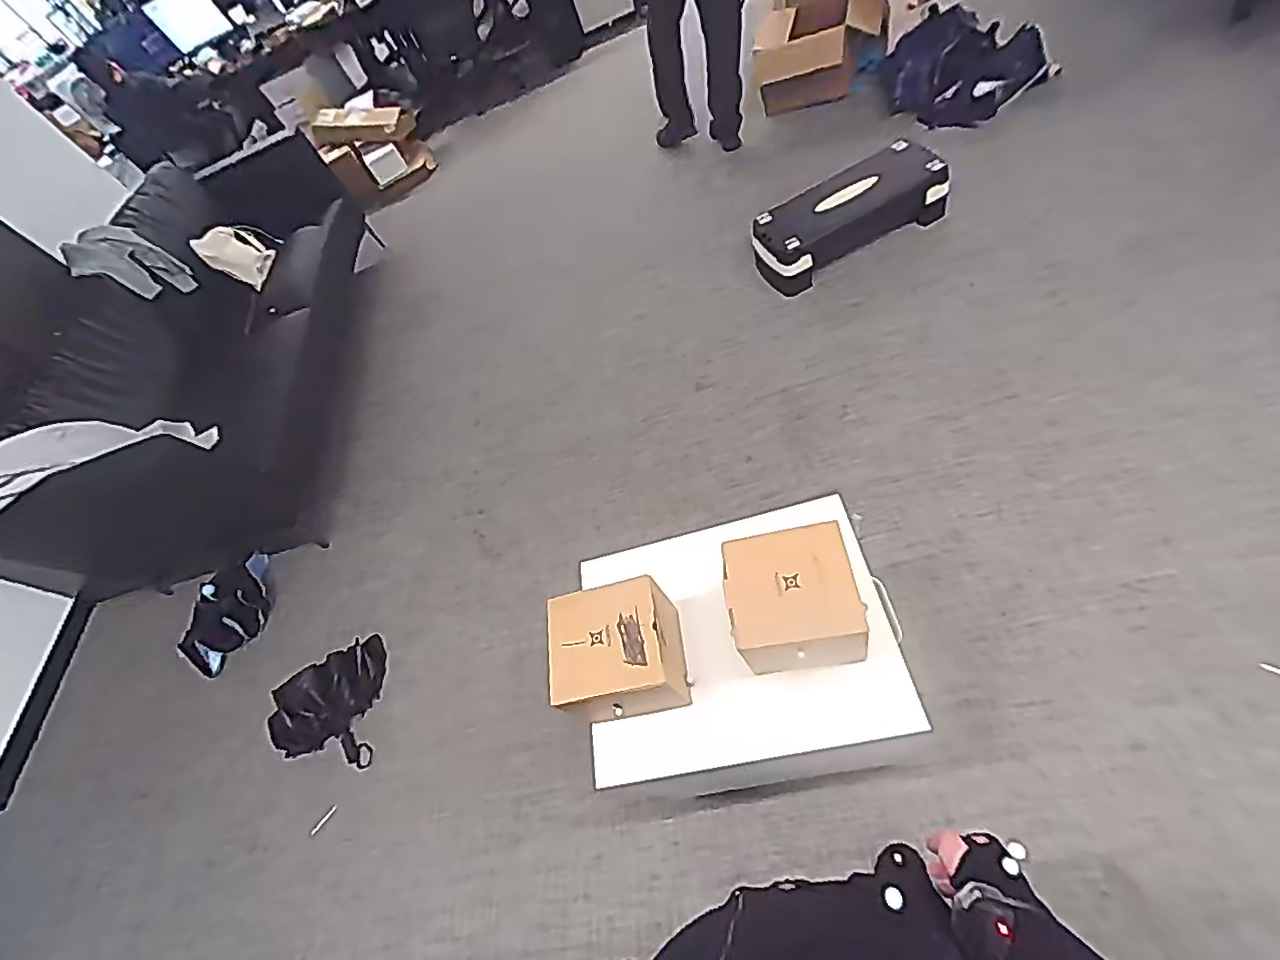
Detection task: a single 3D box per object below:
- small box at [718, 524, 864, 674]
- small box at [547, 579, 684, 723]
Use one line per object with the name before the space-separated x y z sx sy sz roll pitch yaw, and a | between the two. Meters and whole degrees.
small box | 0.230 0.189 0.824 0.179 0.176 0.168 -13 57 13
small box | -0.034 0.280 0.867 0.179 0.176 0.168 -16 55 12
